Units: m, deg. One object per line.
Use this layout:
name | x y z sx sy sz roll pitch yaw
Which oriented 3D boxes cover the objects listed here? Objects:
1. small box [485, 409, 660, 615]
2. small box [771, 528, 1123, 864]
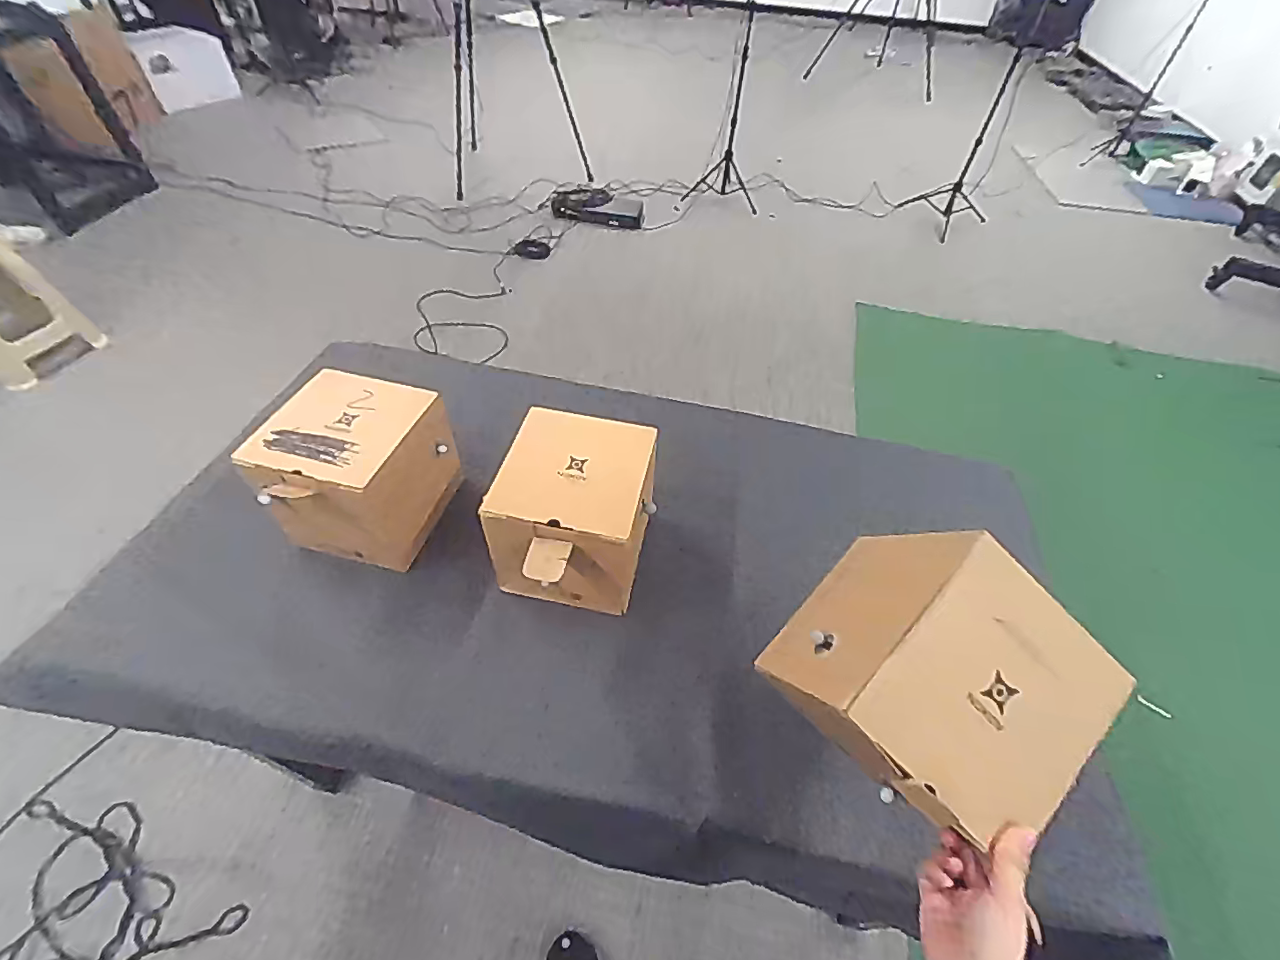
small box | -0.077 0.042 0.682 0.168 0.176 0.179 11 49 5
small box | 0.238 0.163 0.467 0.168 0.176 0.179 44 76 -2
